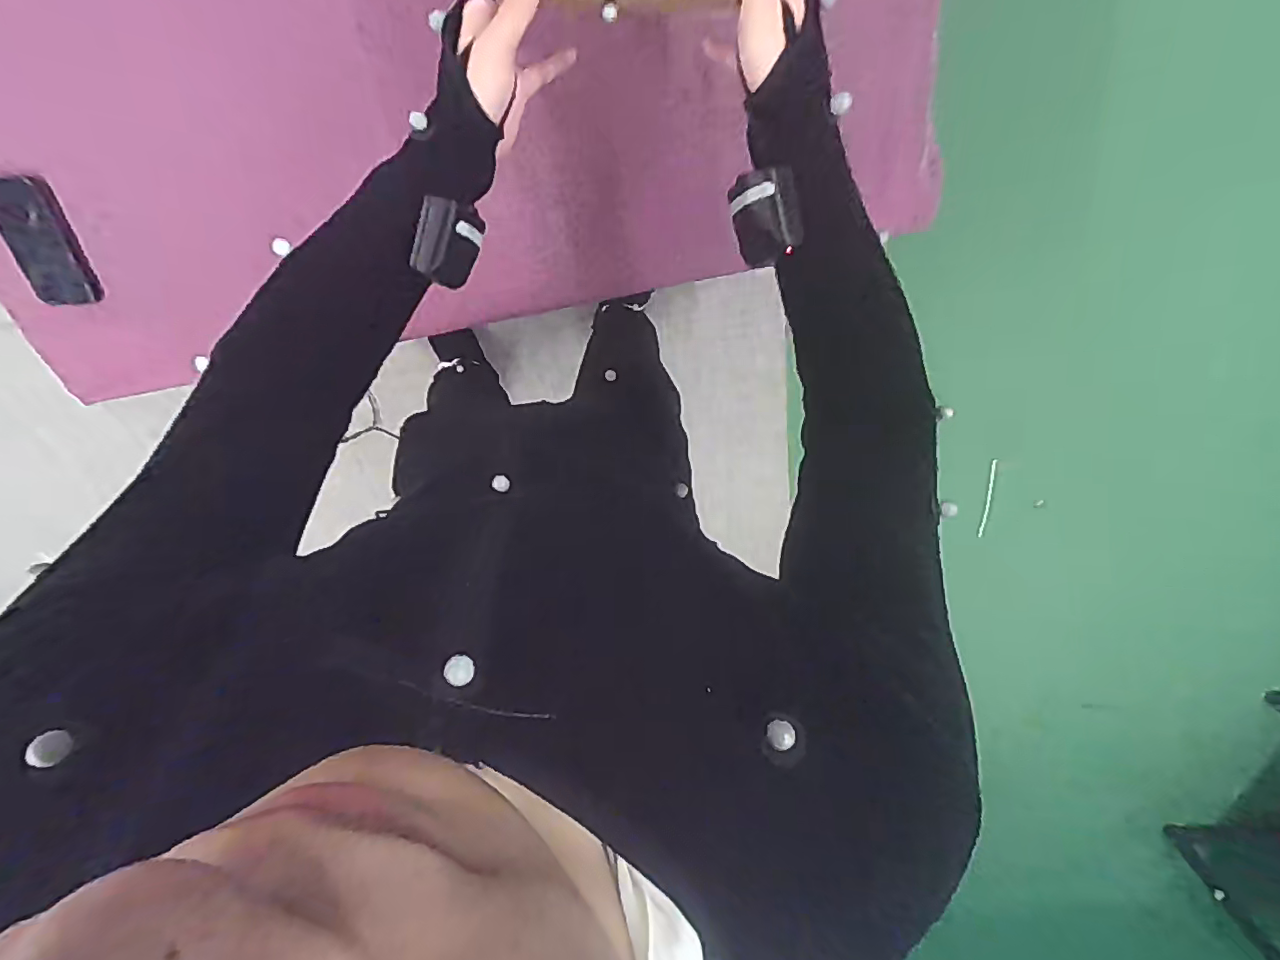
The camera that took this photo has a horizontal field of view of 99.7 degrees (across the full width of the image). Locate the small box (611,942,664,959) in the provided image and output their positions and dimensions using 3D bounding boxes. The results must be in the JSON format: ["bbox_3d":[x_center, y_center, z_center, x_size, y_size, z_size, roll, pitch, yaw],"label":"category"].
[{"bbox_3d":[-0.003,1.619,1.729,0.168,0.176,0.179,-7,120,1],"label":"small box"}]

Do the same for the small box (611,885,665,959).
[{"bbox_3d":[-0.006,1.538,1.870,0.168,0.176,0.179,-7,120,2],"label":"small box"}]

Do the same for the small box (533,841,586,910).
[{"bbox_3d":[-0.296,1.483,2.022,0.168,0.176,0.179,-3,120,1],"label":"small box"}]
